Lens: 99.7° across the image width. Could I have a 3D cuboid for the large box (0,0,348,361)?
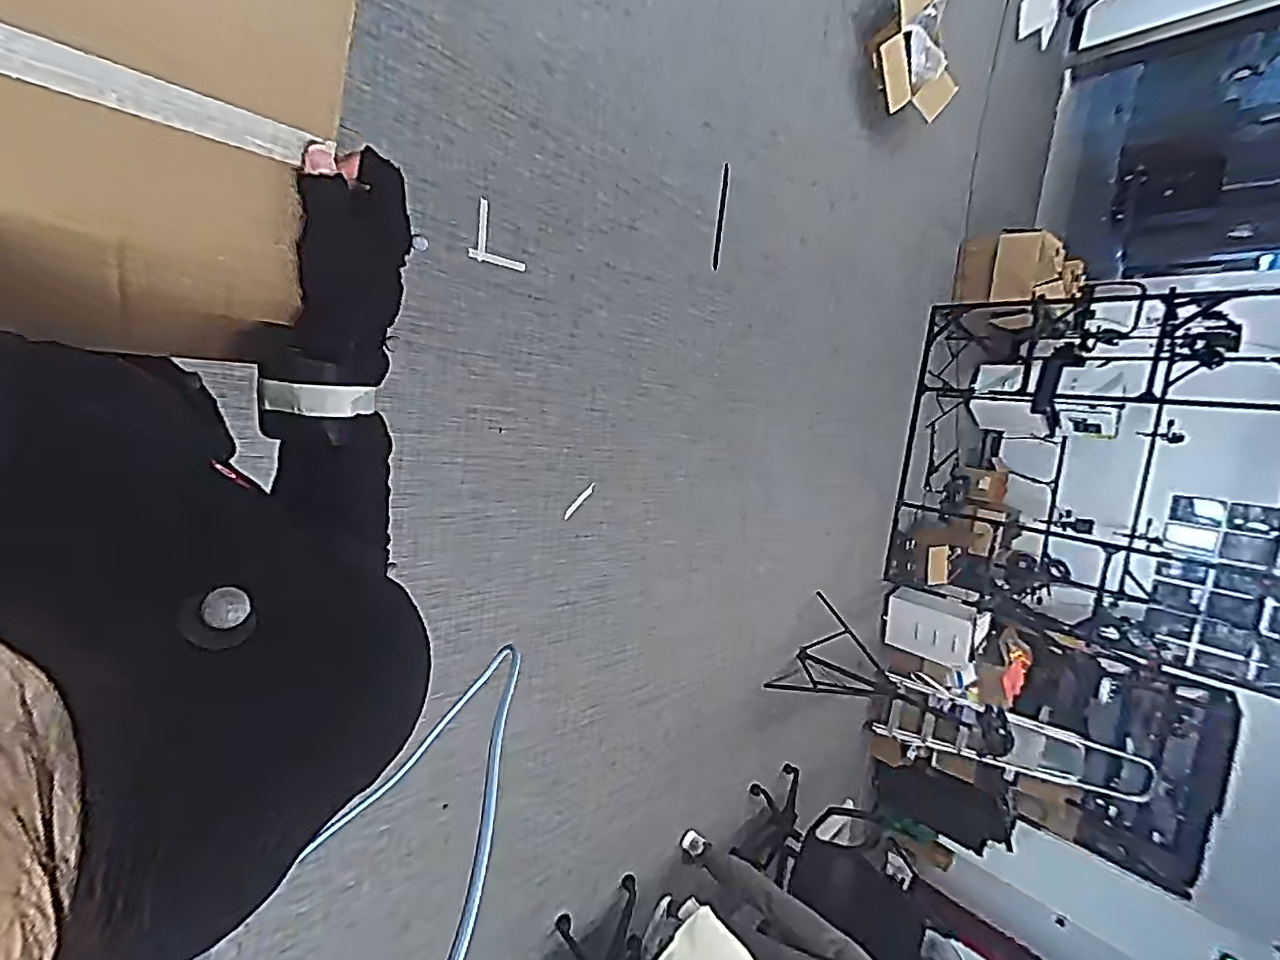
[{"bbox_3d":[-0.429,-0.292,0.286,0.408,0.320,0.320,-5,136,-45],"label":"large box"}]
